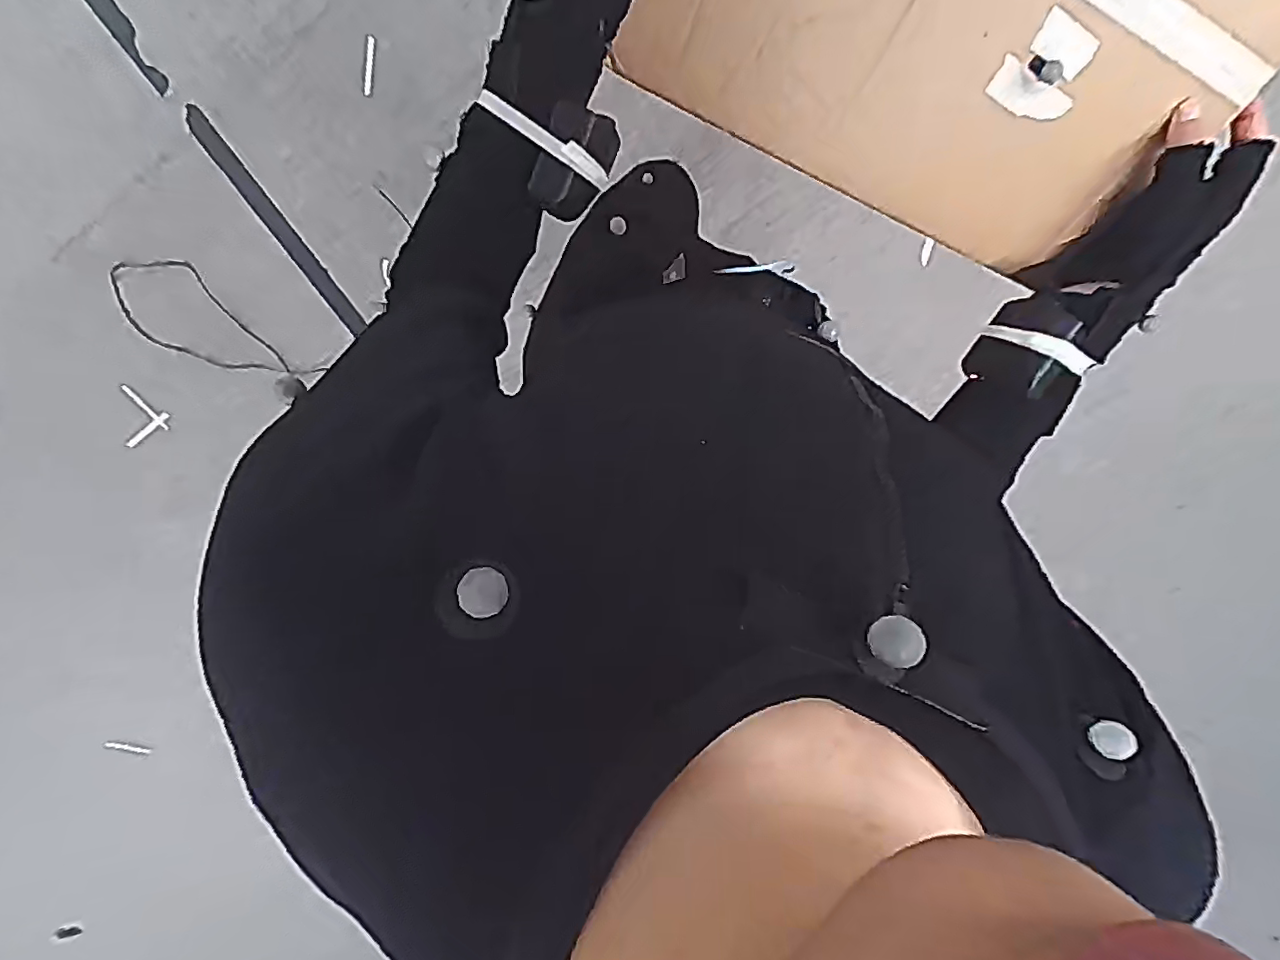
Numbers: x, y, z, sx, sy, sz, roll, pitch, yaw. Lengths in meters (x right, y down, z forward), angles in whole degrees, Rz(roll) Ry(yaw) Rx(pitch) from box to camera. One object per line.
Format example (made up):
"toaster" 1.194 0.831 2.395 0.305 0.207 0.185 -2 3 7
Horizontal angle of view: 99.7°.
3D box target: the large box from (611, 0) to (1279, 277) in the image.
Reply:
"large box" 0.220 -0.434 0.425 0.408 0.320 0.320 18 135 -15
